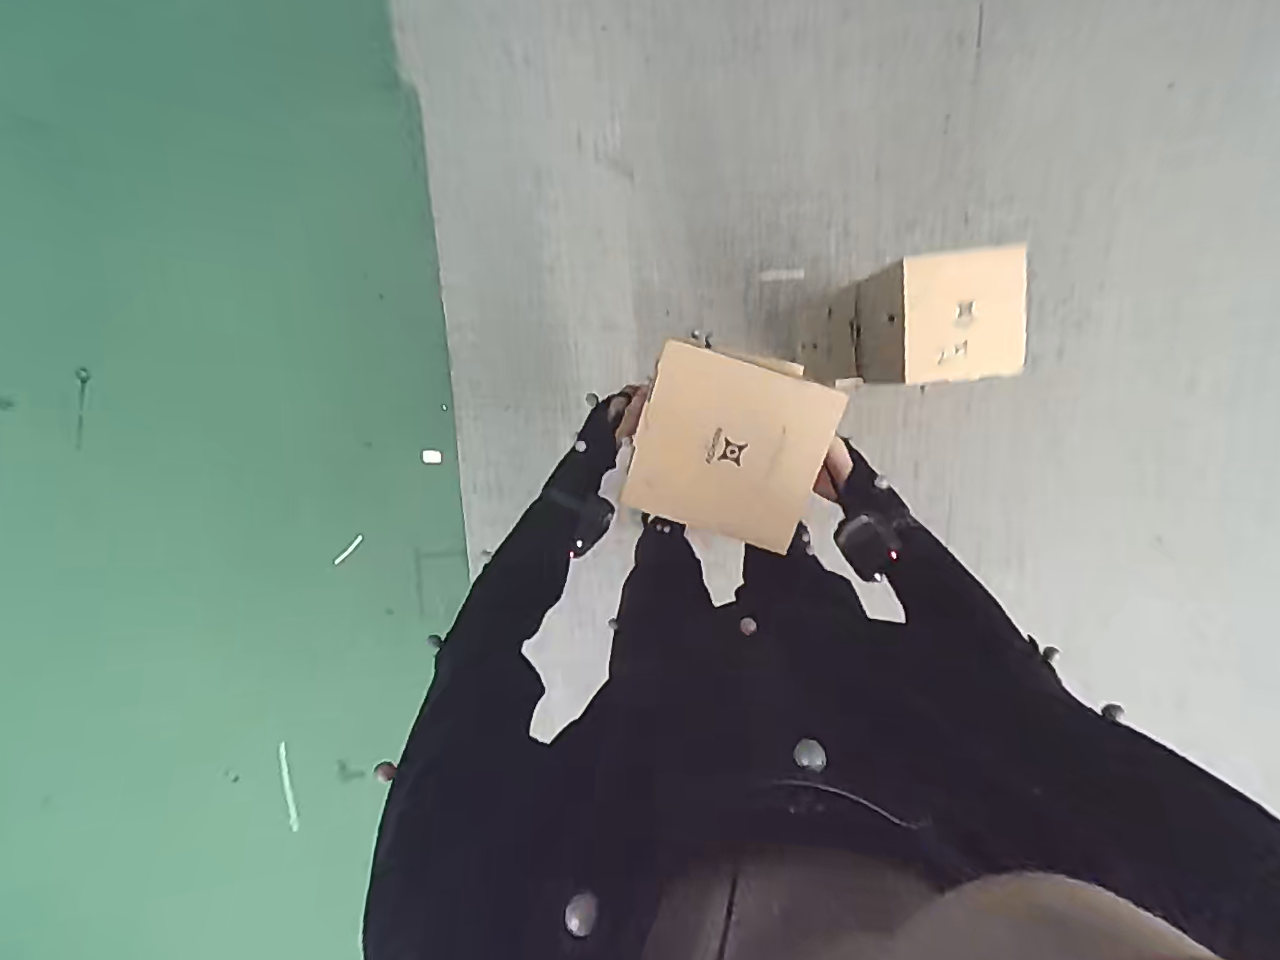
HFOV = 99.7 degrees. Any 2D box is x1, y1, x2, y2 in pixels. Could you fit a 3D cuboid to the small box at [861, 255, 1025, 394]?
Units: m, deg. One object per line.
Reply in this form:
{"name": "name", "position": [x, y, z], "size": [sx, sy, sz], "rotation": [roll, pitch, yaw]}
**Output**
{"name": "small box", "position": [0.448, -0.226, 0.824], "size": [0.168, 0.176, 0.179], "rotation": [-4, 99, 4]}

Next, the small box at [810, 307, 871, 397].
{"name": "small box", "position": [0.466, -0.274, 1.149], "size": [0.168, 0.176, 0.179], "rotation": [-4, 100, 2]}

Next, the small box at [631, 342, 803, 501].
{"name": "small box", "position": [0.095, -0.088, 0.728], "size": [0.179, 0.176, 0.168], "rotation": [13, 105, 0]}

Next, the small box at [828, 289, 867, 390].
{"name": "small box", "position": [0.451, -0.253, 0.986], "size": [0.179, 0.176, 0.168], "rotation": [-4, 99, 2]}
